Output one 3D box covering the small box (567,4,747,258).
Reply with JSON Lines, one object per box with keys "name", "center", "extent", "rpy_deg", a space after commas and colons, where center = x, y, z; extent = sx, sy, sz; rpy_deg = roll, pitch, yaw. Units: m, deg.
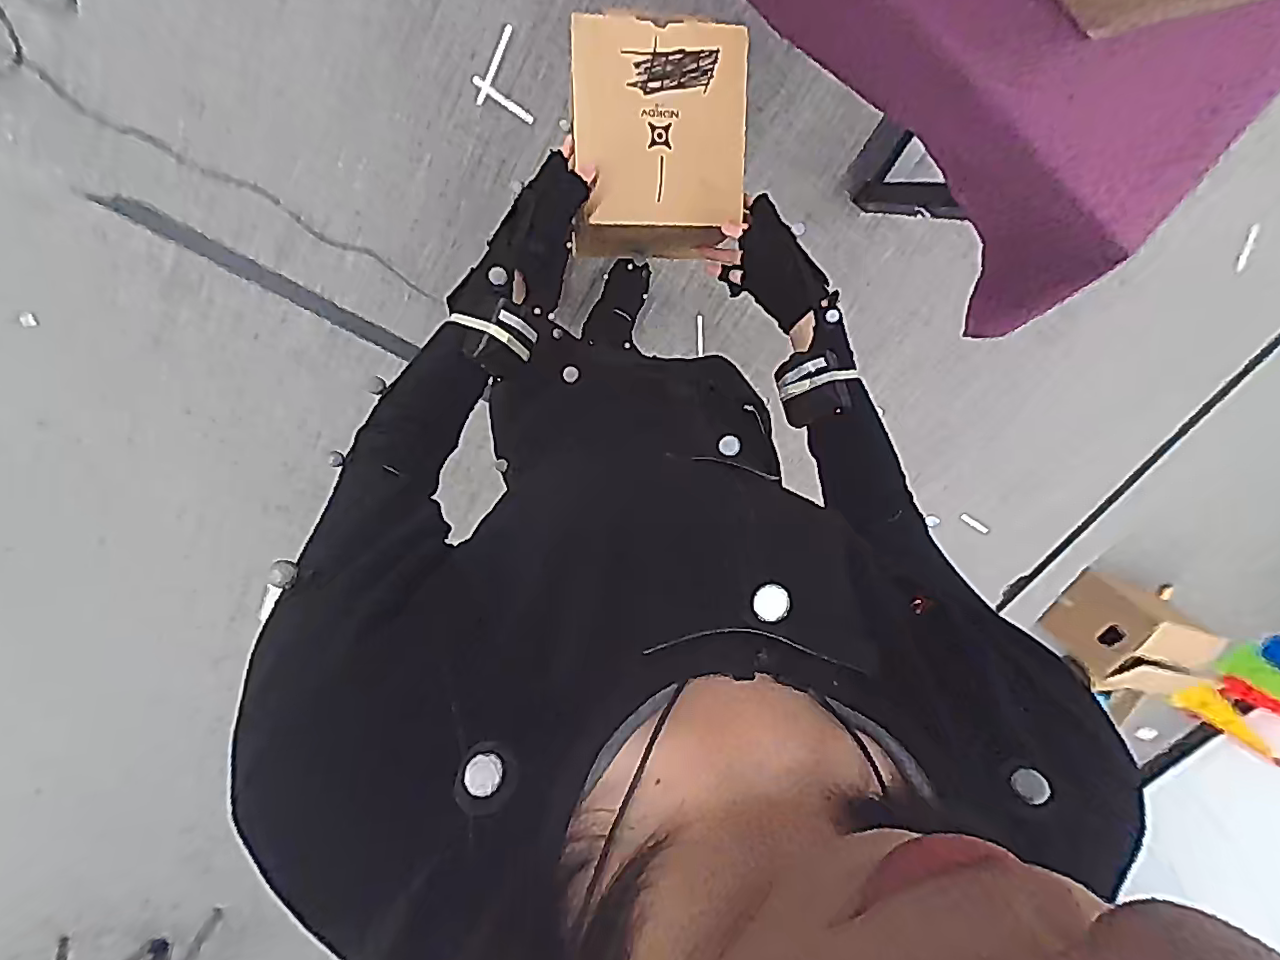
{"name": "small box", "center": [0.007, -0.350, 0.578], "extent": [0.168, 0.176, 0.179], "rpy_deg": [-2, 102, -7]}
